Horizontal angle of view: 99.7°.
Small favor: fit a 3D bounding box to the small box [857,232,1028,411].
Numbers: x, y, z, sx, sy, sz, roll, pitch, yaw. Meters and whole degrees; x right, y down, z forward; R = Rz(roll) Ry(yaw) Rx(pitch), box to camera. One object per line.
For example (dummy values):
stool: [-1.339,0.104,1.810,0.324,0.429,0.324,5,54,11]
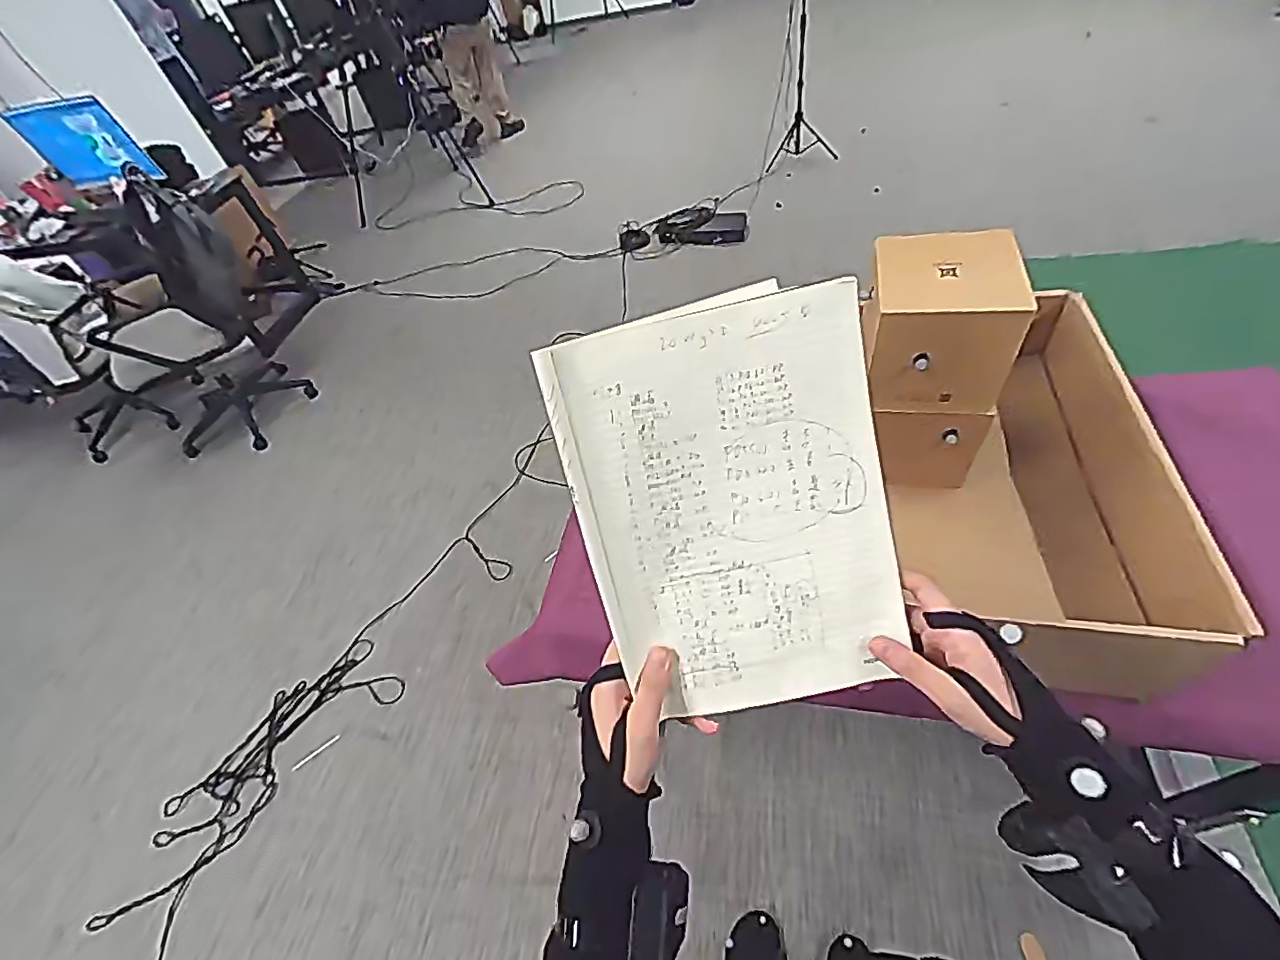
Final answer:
small box: [0.395,-0.209,0.738,0.168,0.176,0.179,3,52,16]
